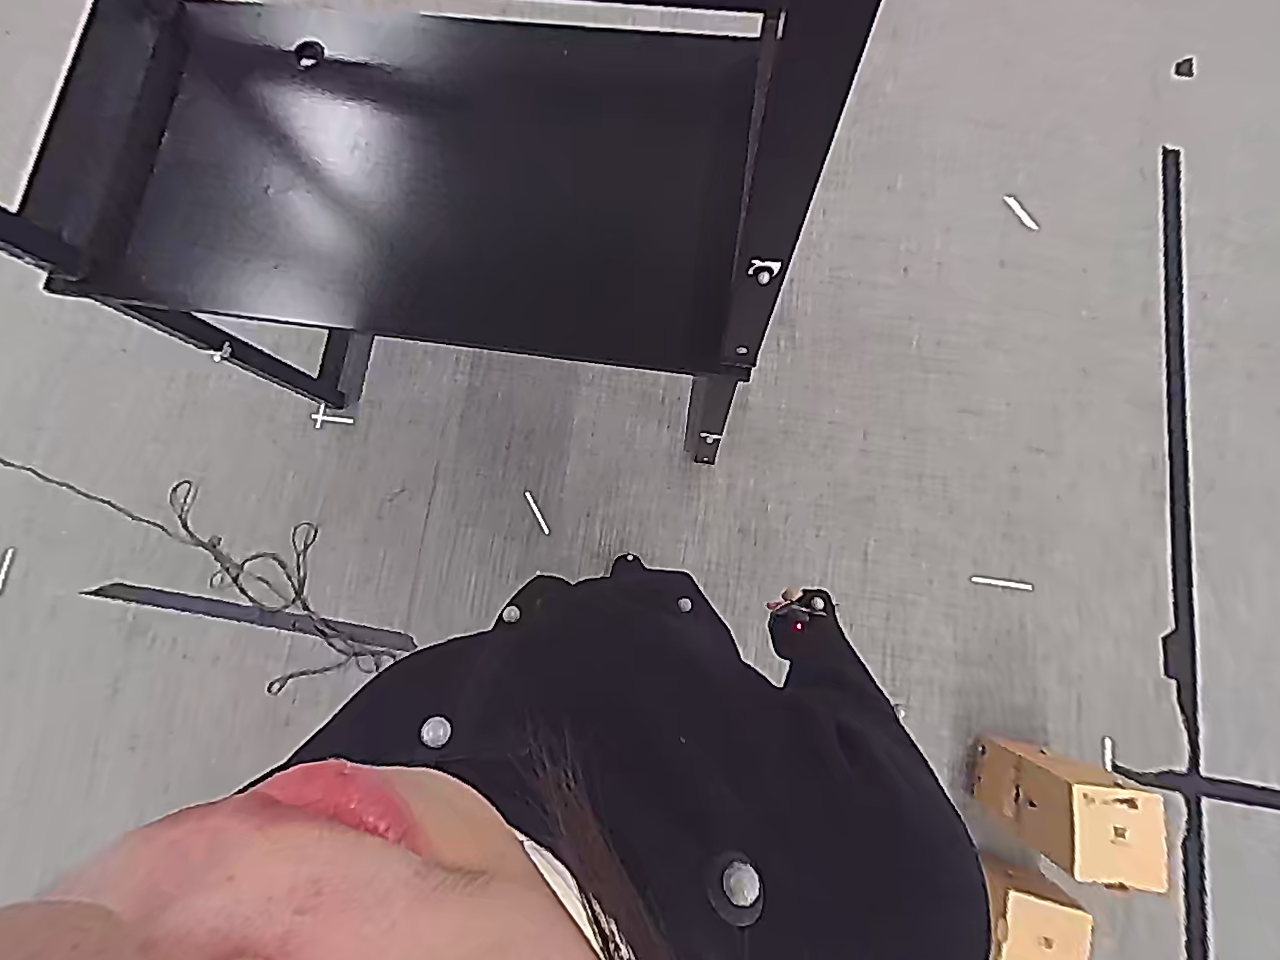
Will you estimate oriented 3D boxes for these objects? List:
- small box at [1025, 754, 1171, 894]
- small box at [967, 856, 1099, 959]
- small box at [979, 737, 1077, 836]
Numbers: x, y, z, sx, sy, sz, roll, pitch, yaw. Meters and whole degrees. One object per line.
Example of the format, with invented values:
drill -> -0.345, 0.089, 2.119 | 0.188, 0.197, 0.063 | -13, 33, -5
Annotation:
small box -> 0.921, 0.689, 1.102 | 0.168, 0.176, 0.179 | 5, 82, 4
small box -> 0.878, 0.995, 1.224 | 0.179, 0.176, 0.168 | 13, 82, 6
small box -> 0.929, 0.720, 1.264 | 0.179, 0.176, 0.168 | 10, 82, 5
